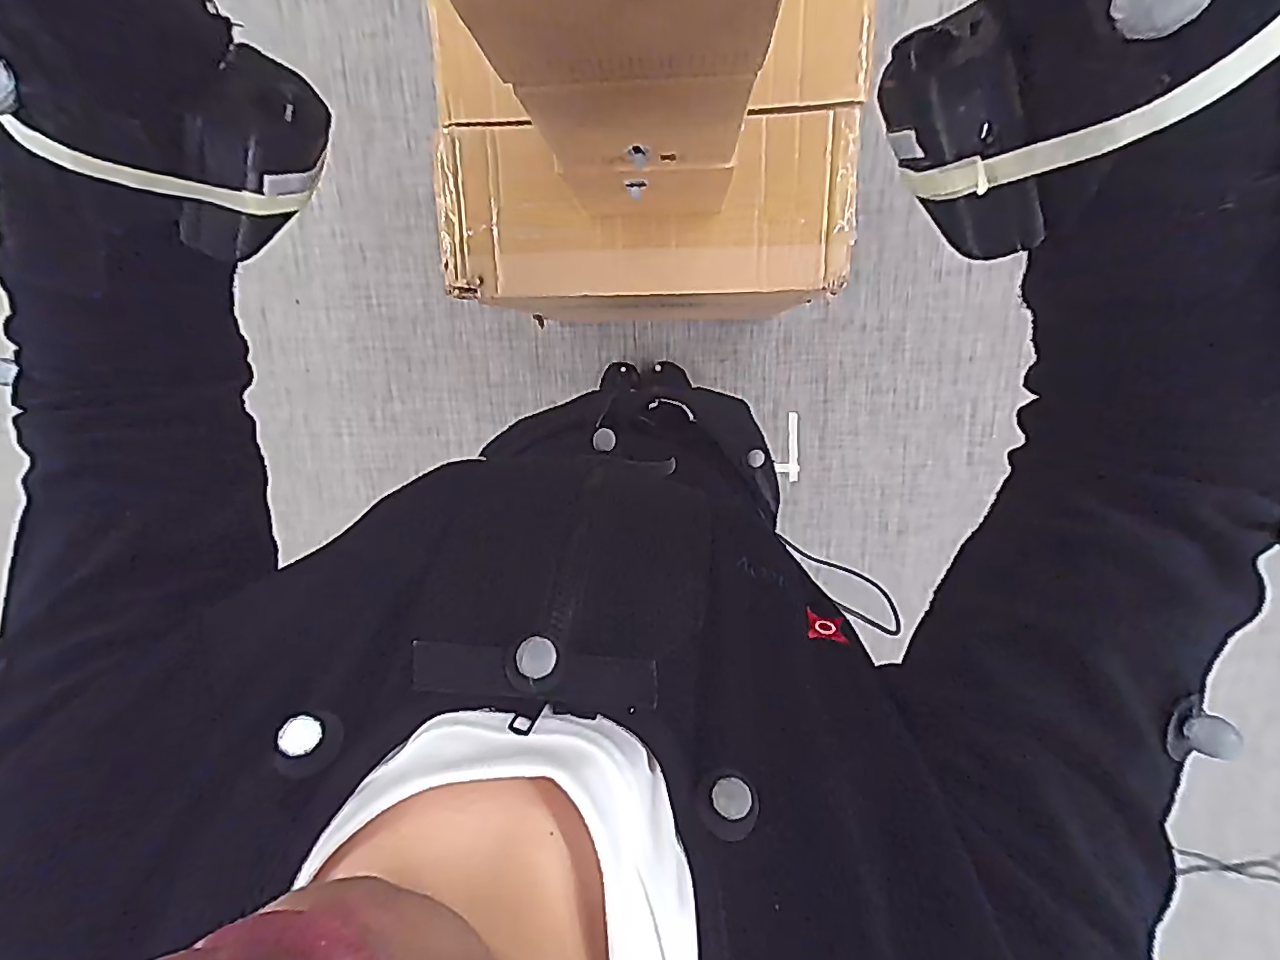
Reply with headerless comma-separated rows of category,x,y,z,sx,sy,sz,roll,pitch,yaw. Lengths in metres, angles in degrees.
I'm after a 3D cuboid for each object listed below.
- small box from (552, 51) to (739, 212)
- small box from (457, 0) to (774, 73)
small box,0.010,-0.395,0.578,0.179,0.176,0.168,1,103,4
small box,-0.012,-0.327,0.256,0.179,0.176,0.168,0,103,4
